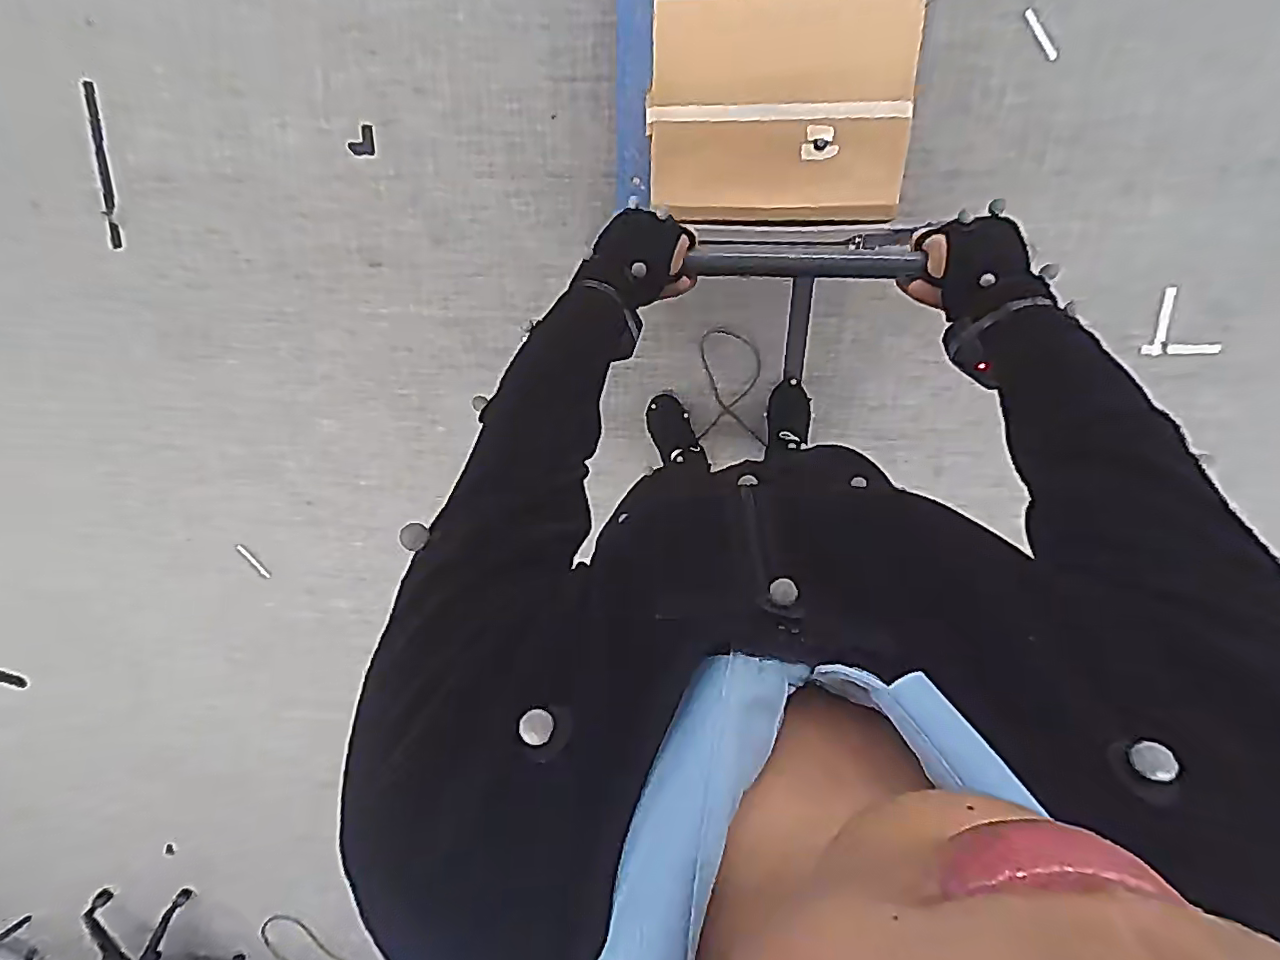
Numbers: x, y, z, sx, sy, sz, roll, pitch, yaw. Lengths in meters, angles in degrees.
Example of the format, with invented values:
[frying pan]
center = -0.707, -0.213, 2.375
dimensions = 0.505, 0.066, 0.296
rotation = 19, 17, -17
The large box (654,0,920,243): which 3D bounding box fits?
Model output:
[large box]
center = 0.232, -0.630, 1.007
dimensions = 0.408, 0.320, 0.320
rotation = 1, 109, 4
